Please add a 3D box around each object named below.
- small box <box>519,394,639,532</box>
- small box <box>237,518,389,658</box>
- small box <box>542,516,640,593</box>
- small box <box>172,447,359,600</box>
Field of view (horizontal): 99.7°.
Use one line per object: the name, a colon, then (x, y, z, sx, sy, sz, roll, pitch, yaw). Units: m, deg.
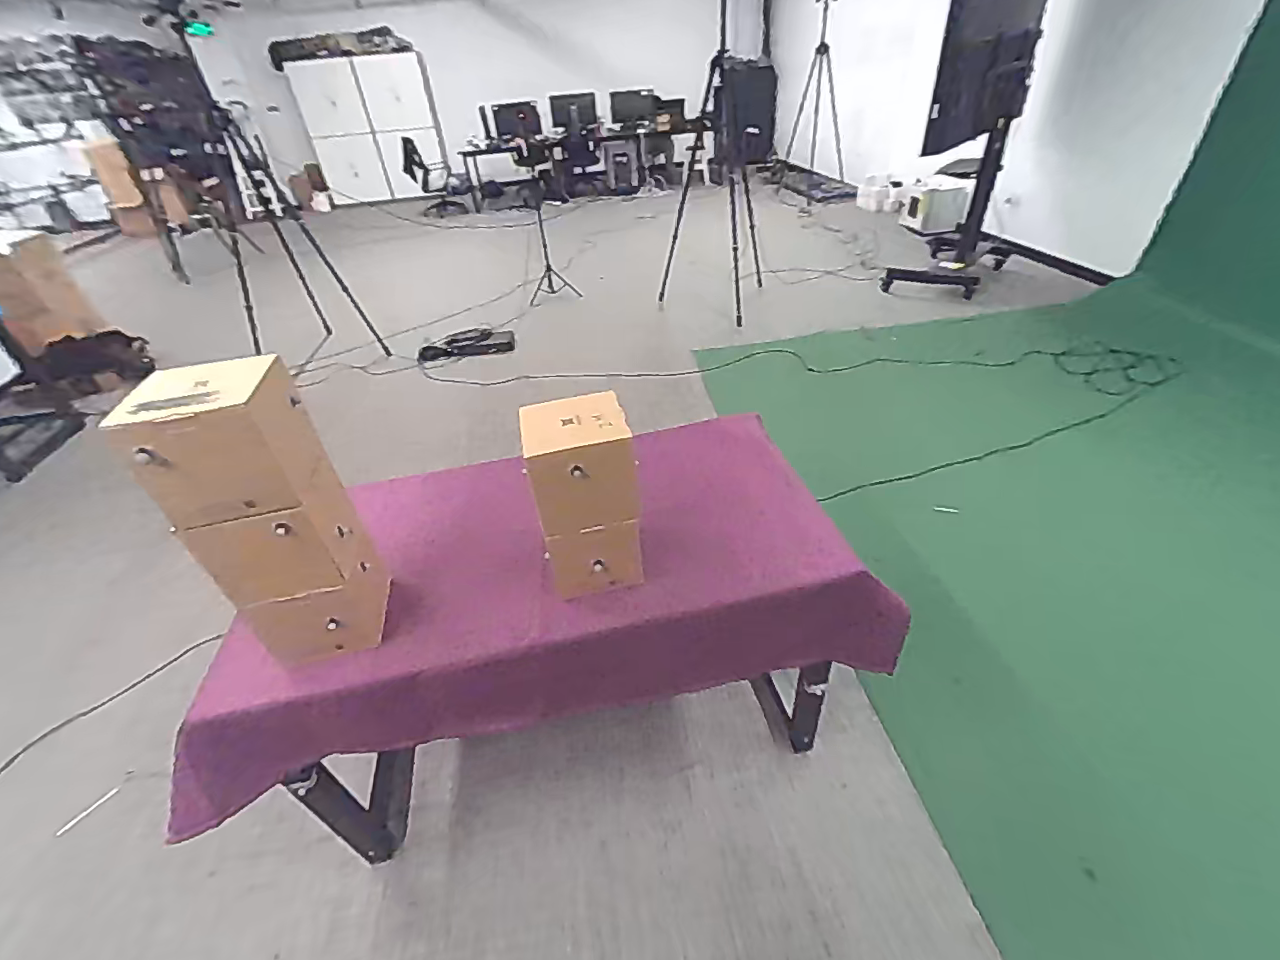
small box: (-0.106, -0.028, 0.948, 0.179, 0.176, 0.168, -11, 38, -7)
small box: (-0.572, 0.199, 0.976, 0.168, 0.176, 0.179, -10, 37, -9)
small box: (-0.097, 0.101, 1.050, 0.168, 0.176, 0.179, -10, 38, -7)
small box: (-0.586, 0.071, 0.877, 0.179, 0.176, 0.168, -11, 38, -11)
